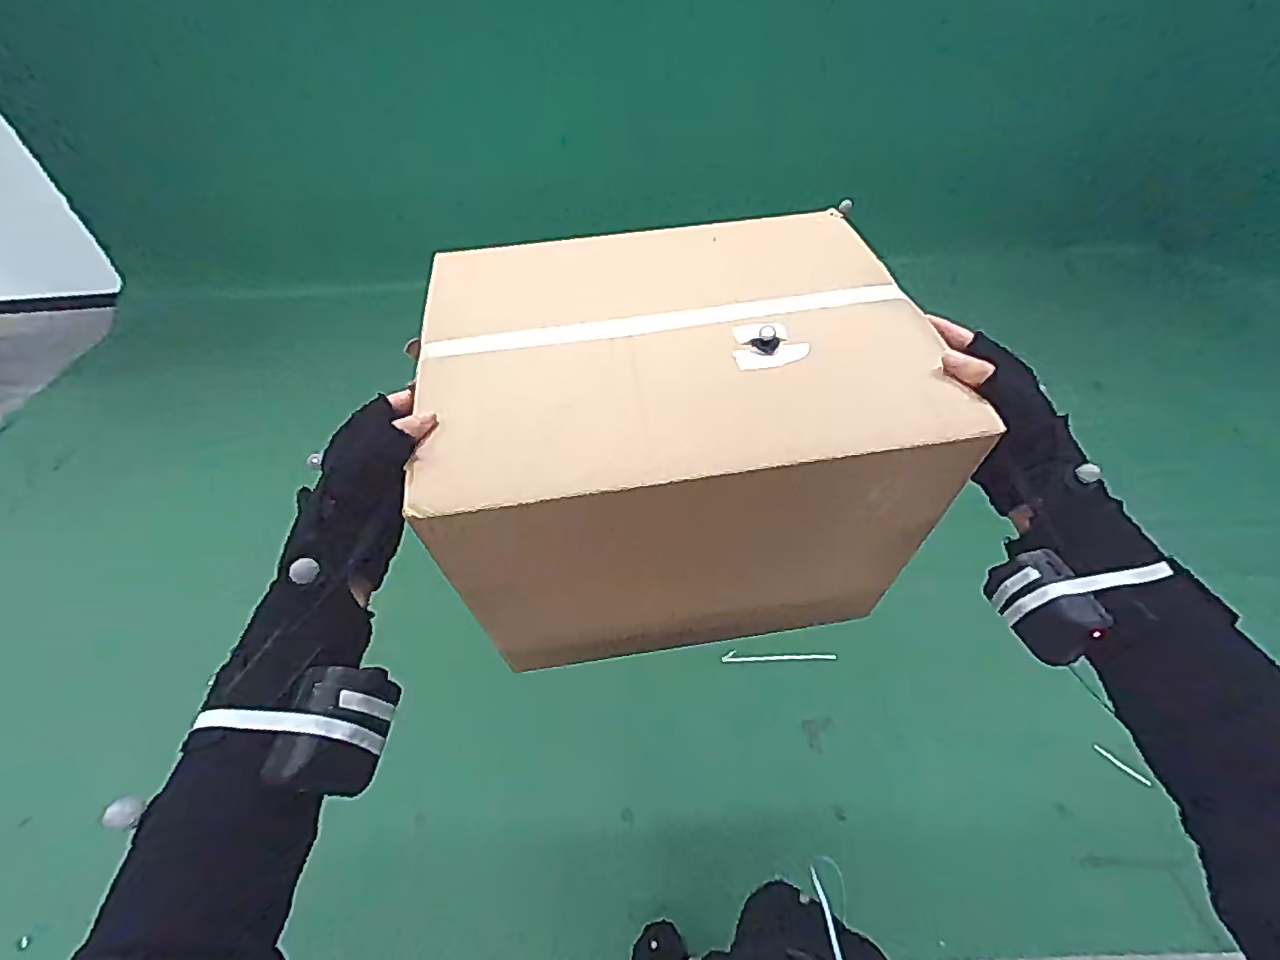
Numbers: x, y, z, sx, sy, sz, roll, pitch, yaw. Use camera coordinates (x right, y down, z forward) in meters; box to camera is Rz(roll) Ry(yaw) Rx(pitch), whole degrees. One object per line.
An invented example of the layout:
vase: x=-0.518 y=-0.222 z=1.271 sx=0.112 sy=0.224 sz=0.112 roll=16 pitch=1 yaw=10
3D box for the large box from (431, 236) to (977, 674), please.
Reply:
large box: x=0.030 y=-0.023 z=0.582 sx=0.408 sy=0.320 sz=0.320 roll=-8 pitch=53 yaw=-5
